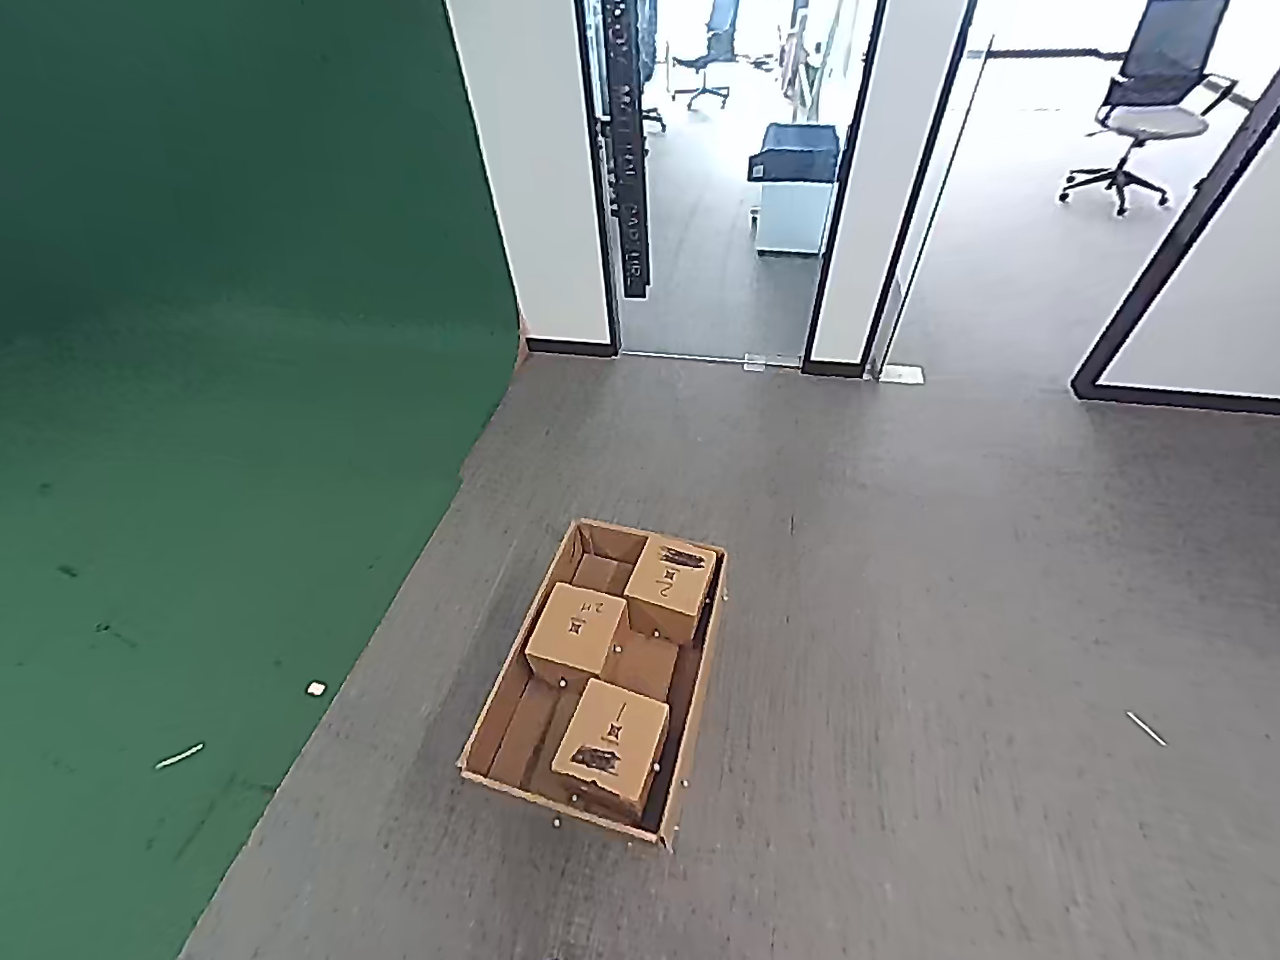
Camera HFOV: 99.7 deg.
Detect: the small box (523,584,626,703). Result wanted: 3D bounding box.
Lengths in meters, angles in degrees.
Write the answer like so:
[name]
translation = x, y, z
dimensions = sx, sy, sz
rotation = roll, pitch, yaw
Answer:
[small box]
translation = -0.132, 0.361, 1.182
dimensions = 0.168, 0.176, 0.179
rotation = 13, 50, 12
